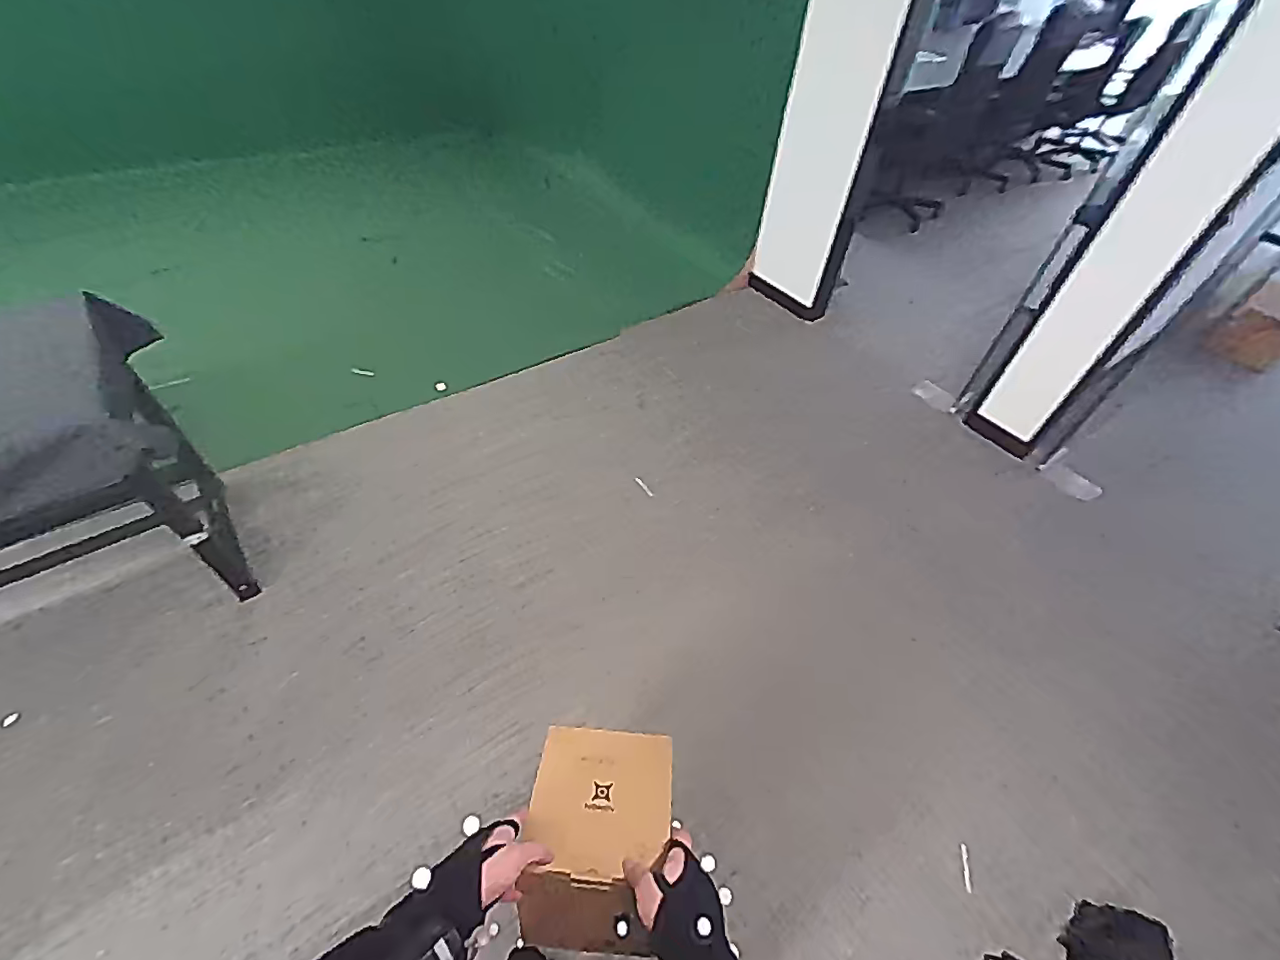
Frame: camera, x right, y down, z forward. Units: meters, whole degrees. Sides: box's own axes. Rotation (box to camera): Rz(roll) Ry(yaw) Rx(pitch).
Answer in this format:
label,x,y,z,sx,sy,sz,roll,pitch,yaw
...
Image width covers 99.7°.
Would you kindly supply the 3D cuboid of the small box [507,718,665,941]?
label,x,y,z,sx,sy,sz,roll,pitch,yaw
small box,-0.056,0.431,0.675,0.168,0.176,0.179,4,28,2
